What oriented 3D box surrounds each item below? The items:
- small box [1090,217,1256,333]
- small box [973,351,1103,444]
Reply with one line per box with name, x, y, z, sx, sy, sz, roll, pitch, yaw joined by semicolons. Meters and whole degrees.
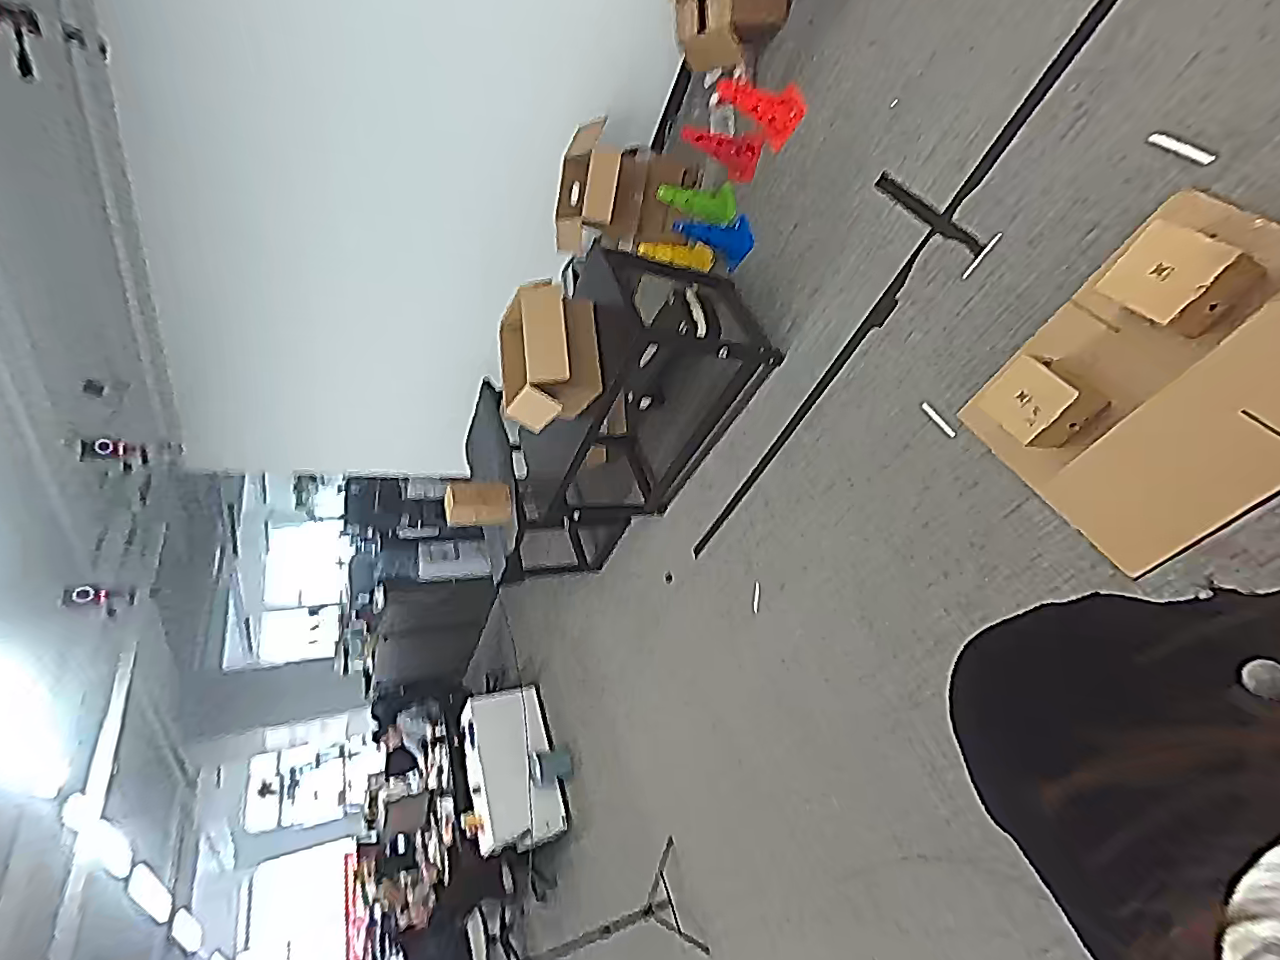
small box;1.158;-0.440;1.179;0.179;0.176;0.168;61;138;39
small box;1.020;-0.205;1.389;0.168;0.176;0.179;-62;40;38
